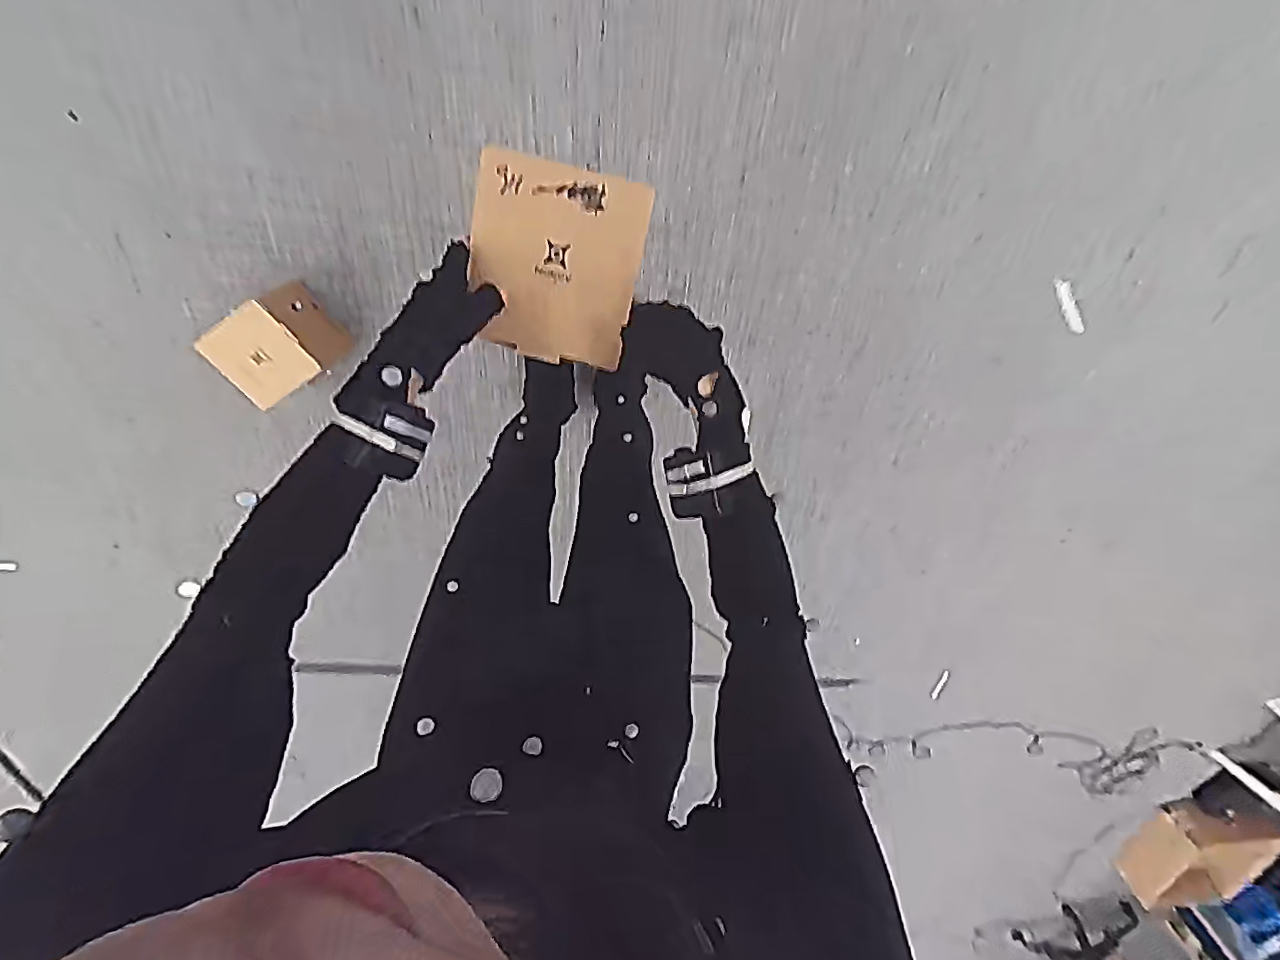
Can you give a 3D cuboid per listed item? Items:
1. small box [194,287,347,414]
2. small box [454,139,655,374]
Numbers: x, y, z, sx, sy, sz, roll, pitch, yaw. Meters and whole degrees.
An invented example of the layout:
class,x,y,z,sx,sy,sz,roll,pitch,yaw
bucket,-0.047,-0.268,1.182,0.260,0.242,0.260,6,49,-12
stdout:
class,x,y,z,sx,sy,sz,roll,pitch,yaw
small box,-0.742,-0.273,1.114,0.179,0.176,0.168,-29,117,14
small box,-0.084,-0.228,0.584,0.168,0.176,0.179,13,107,-6
